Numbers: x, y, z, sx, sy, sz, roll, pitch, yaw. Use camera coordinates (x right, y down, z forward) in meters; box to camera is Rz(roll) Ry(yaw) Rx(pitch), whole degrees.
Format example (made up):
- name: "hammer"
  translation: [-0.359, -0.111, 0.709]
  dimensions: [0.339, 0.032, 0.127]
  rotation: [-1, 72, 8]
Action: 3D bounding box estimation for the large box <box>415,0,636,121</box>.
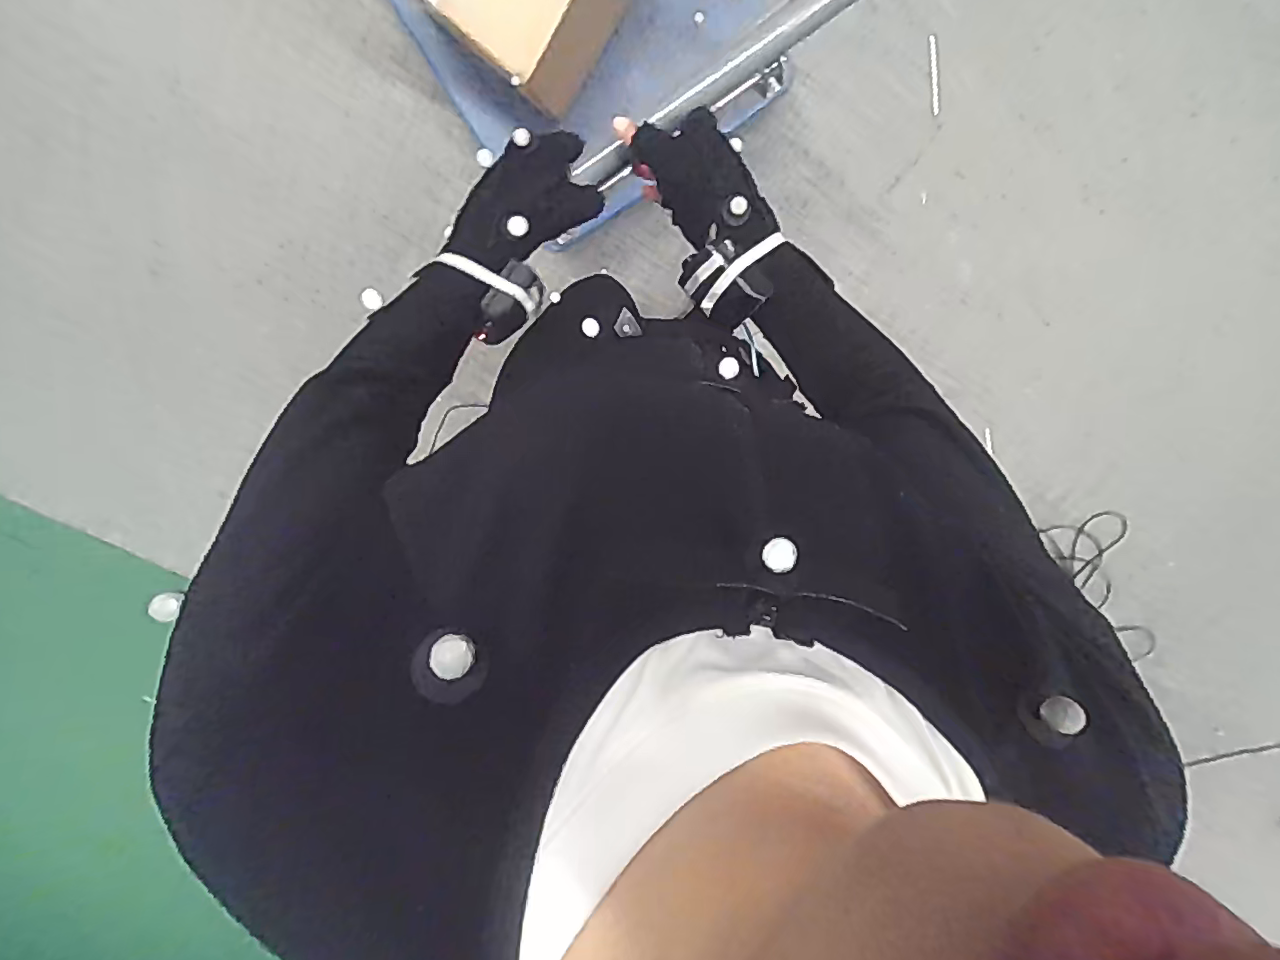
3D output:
- name: "large box"
  translation: [-0.155, -0.864, 0.826]
  dimensions: [0.320, 0.320, 0.408]
  rotation: [34, 112, -12]
